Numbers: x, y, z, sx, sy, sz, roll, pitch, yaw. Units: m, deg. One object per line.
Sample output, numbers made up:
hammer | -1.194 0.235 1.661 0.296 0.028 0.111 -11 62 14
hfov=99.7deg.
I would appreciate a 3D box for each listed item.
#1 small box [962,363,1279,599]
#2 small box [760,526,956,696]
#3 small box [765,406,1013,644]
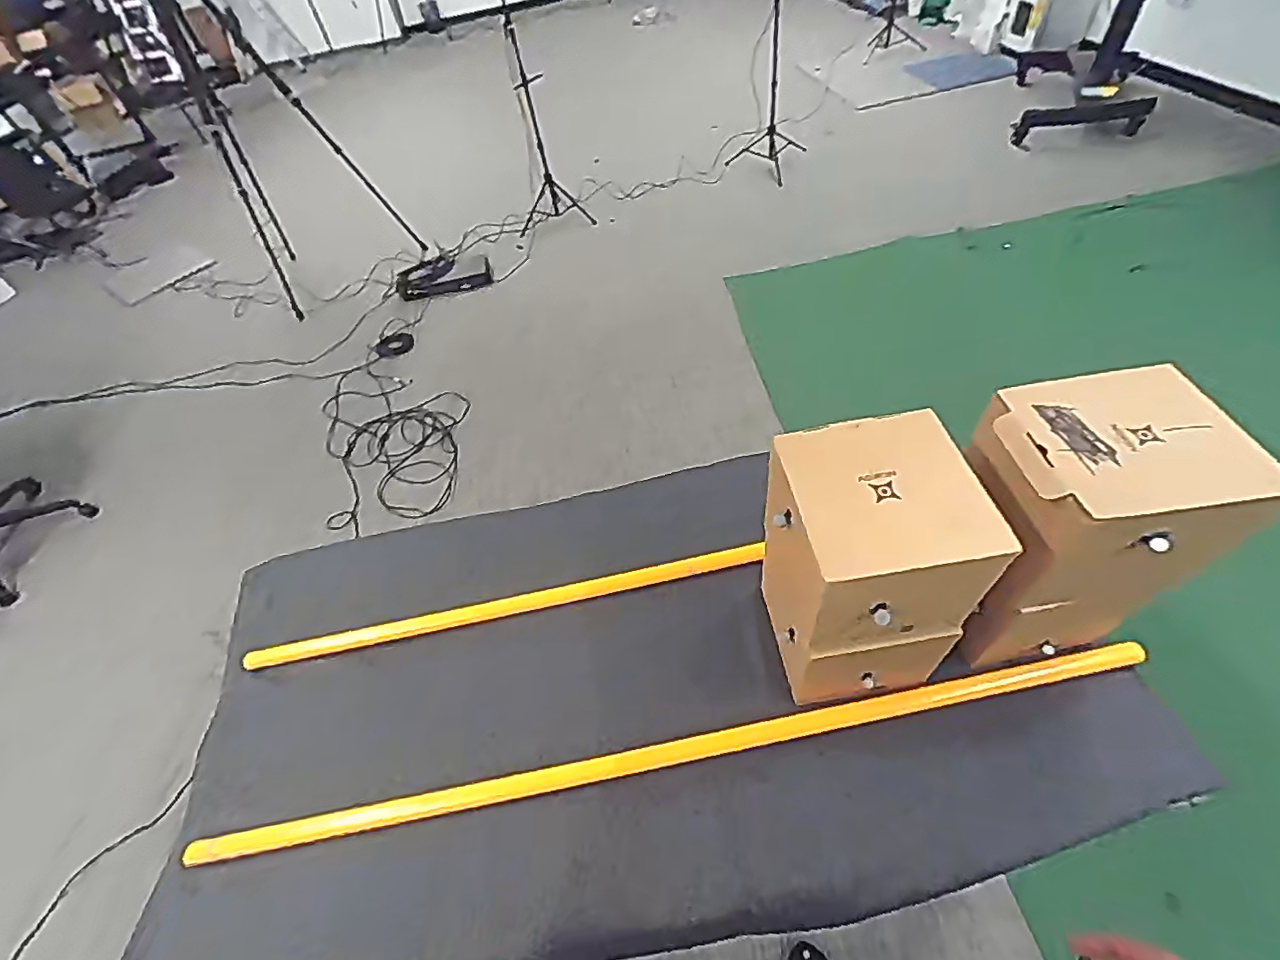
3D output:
small box | 0.456 0.008 0.555 0.179 0.176 0.168 -8 52 3
small box | 0.255 0.159 0.683 0.168 0.176 0.179 -10 50 1
small box | 0.231 0.055 0.559 0.168 0.176 0.179 -10 50 3
